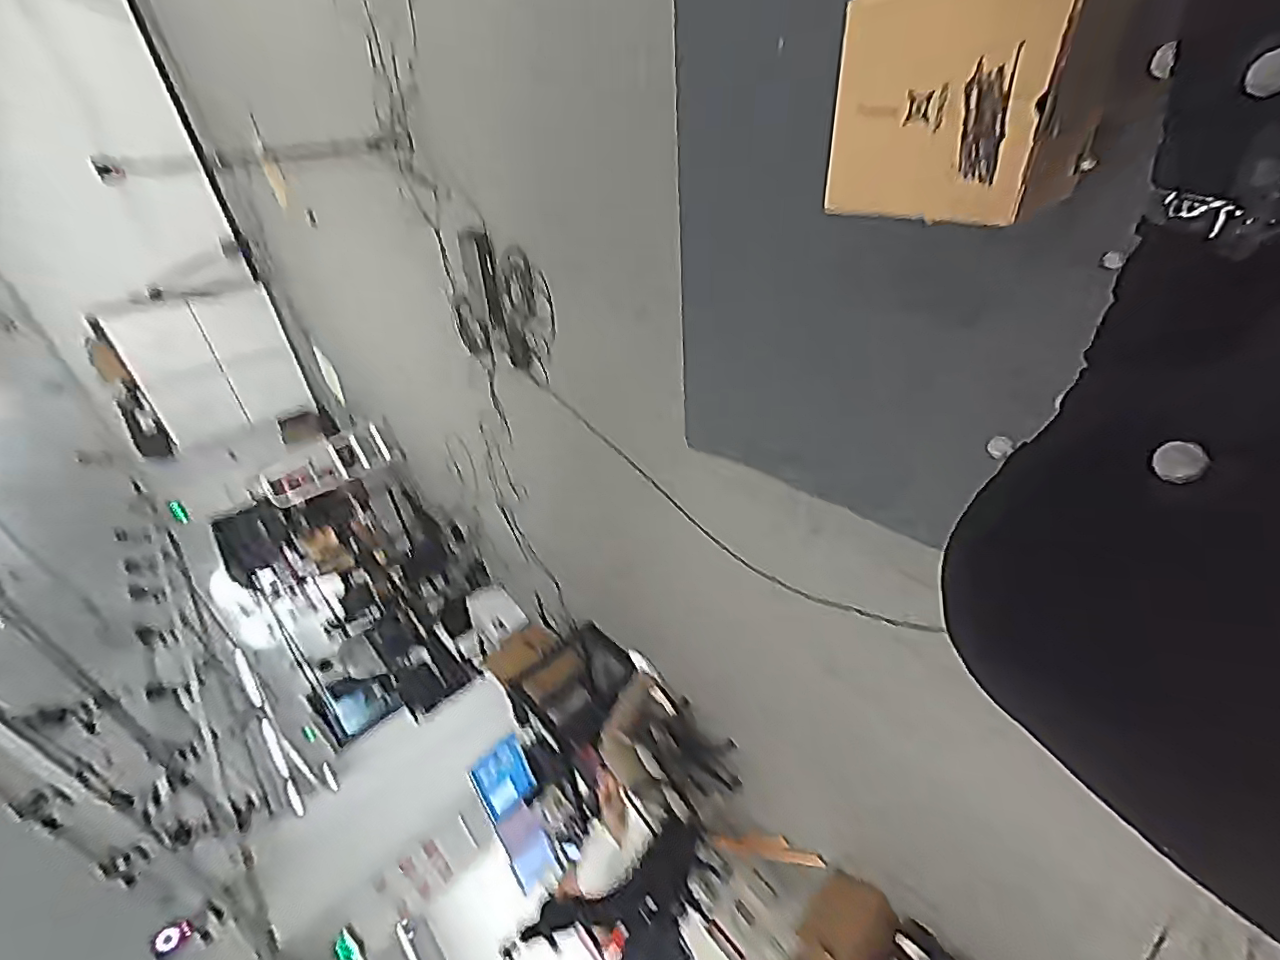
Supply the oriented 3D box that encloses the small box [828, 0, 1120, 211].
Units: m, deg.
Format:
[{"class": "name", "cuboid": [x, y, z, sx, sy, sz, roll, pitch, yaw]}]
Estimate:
[{"class": "small box", "cuboid": [0.300, -0.354, 0.500, 0.179, 0.176, 0.168, 25, 135, 41]}]
